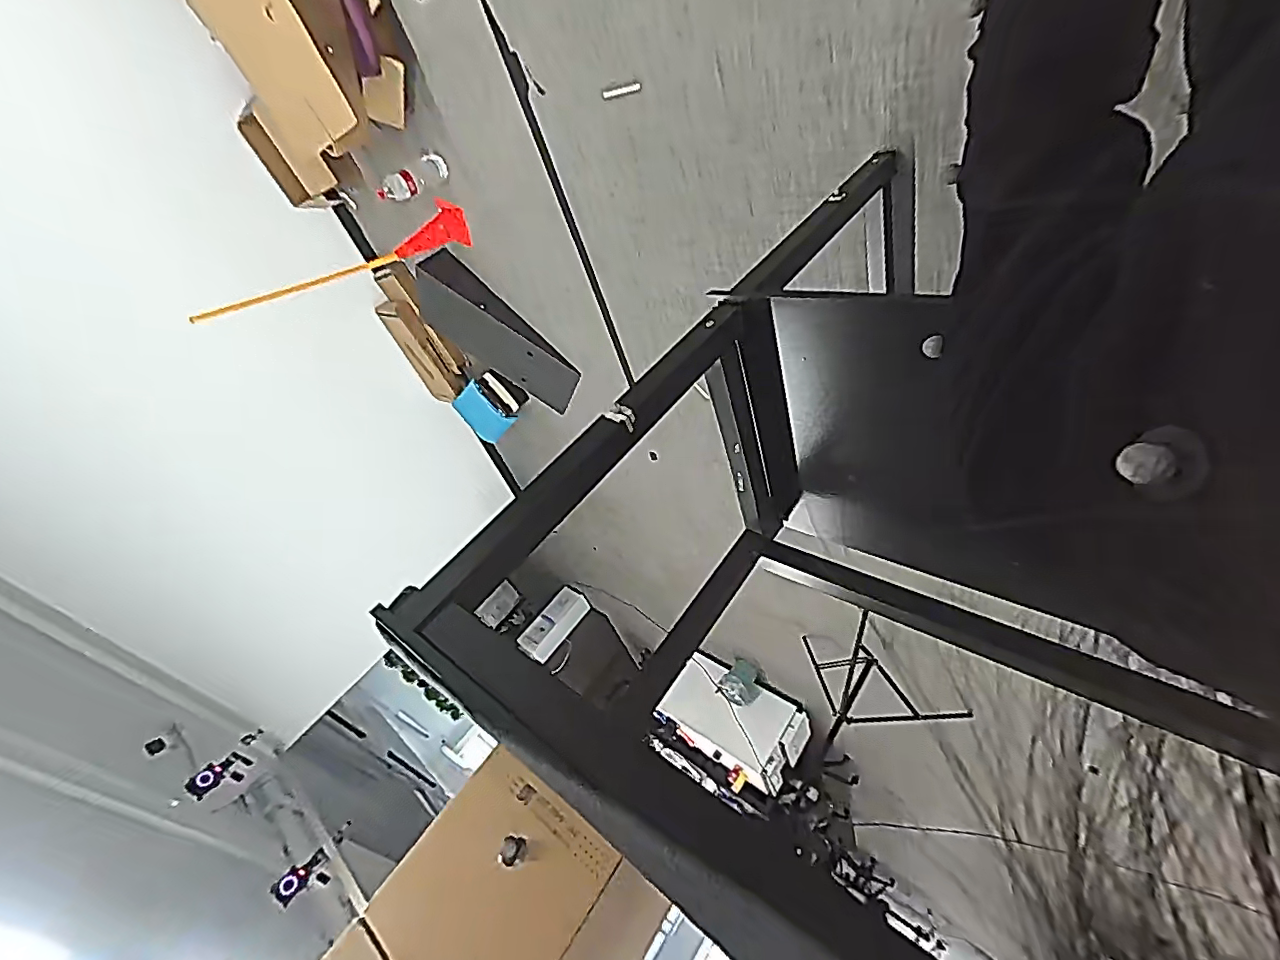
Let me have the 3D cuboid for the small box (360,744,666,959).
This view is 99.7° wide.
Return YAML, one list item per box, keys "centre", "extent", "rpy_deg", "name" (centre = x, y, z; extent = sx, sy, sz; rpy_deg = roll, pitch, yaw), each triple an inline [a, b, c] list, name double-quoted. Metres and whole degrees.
- centre: [-0.099, 0.381, 0.489]
  extent: [0.168, 0.176, 0.179]
  rpy_deg: [19, 145, 37]
  name: "small box"
